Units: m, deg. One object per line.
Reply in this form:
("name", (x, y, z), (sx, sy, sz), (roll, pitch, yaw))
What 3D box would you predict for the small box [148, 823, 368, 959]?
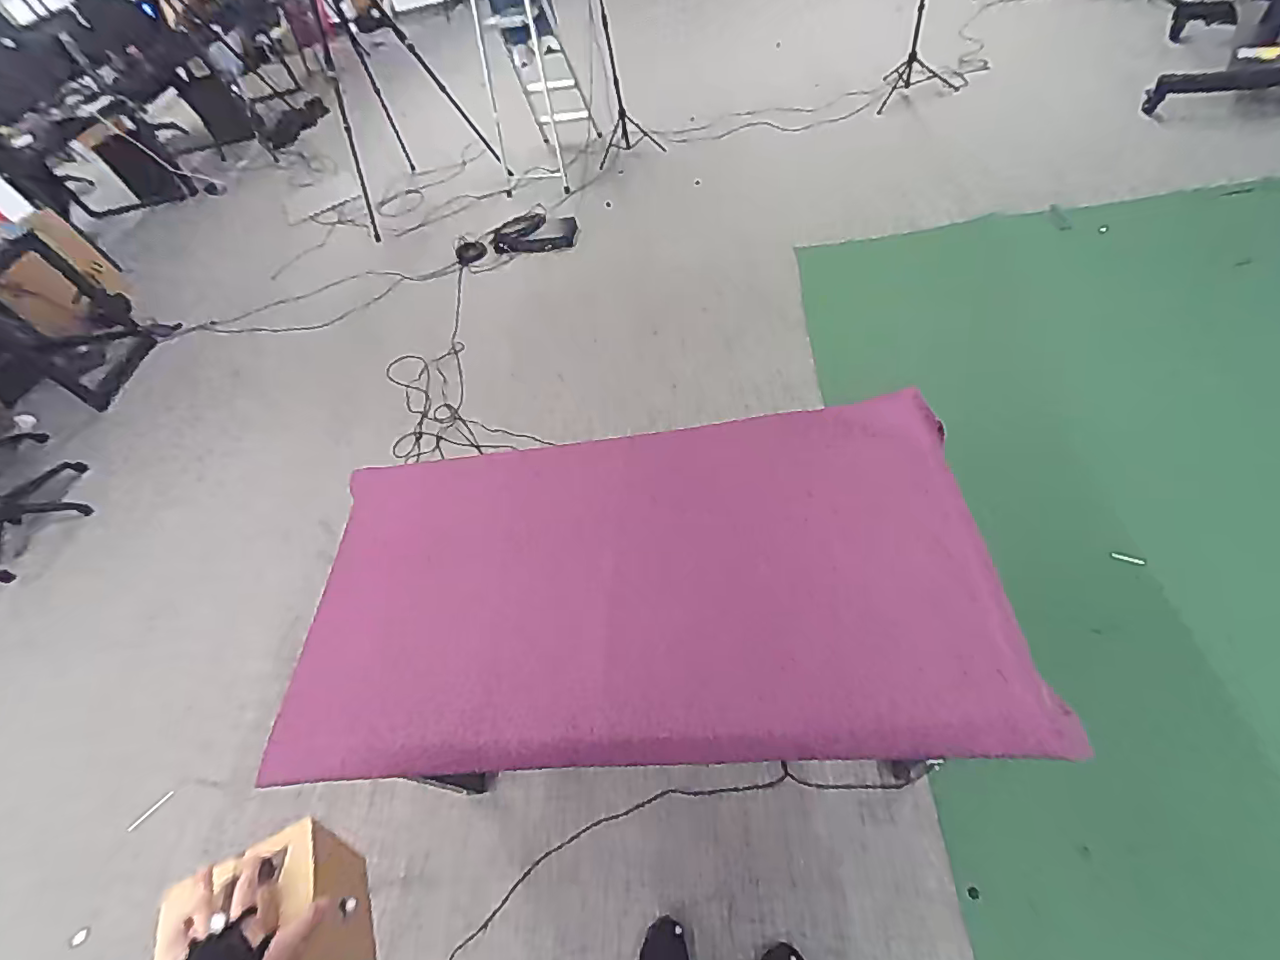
("small box", (-0.445, 0.568, 0.647), (0.168, 0.176, 0.179), (-23, 42, -19))
